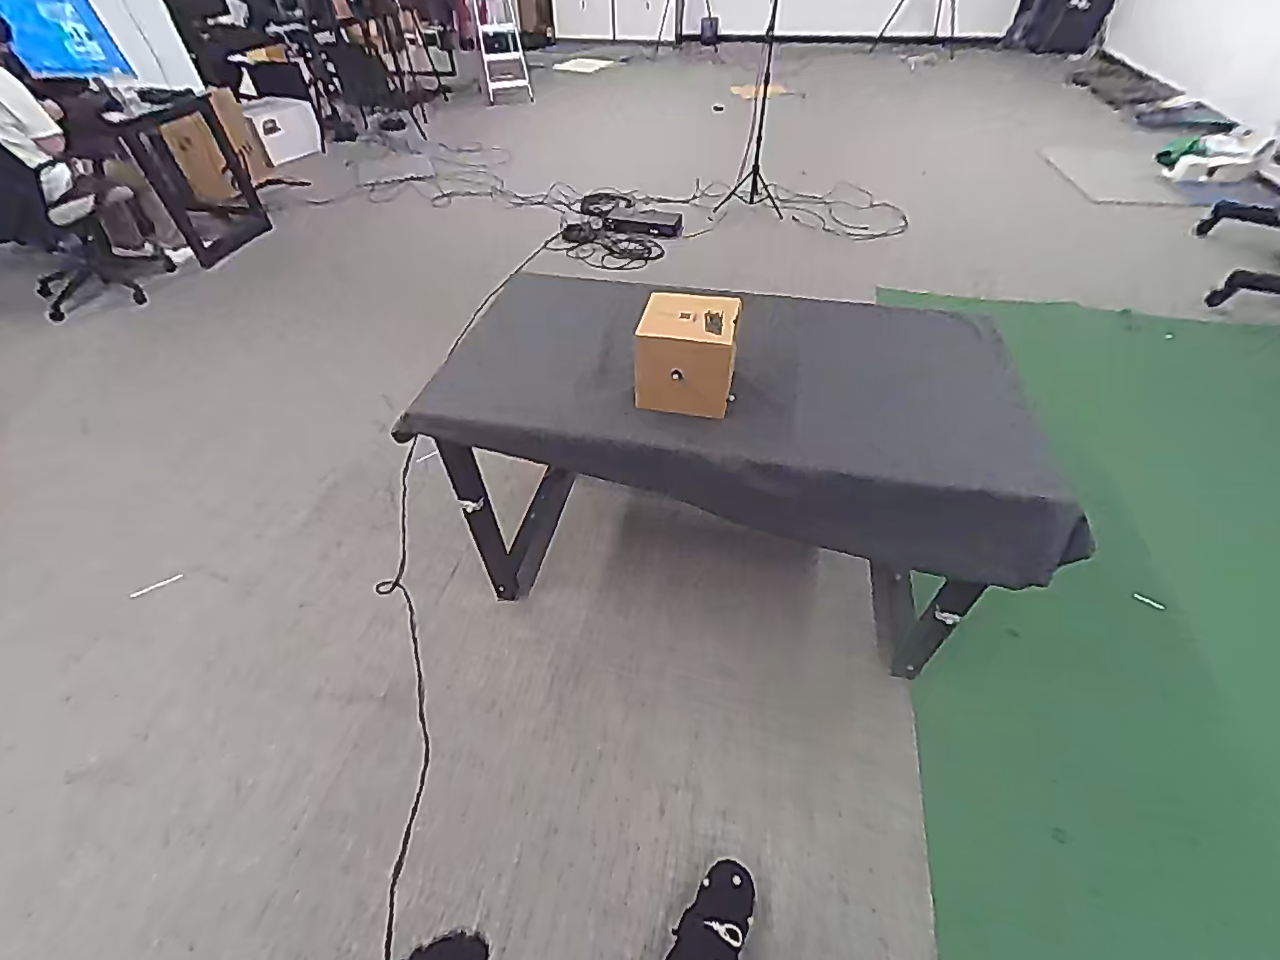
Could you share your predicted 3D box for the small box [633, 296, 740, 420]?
[{"bbox_3d":[0.092,-0.236,1.056,0.179,0.176,0.168,8,47,10],"label":"small box"}]
